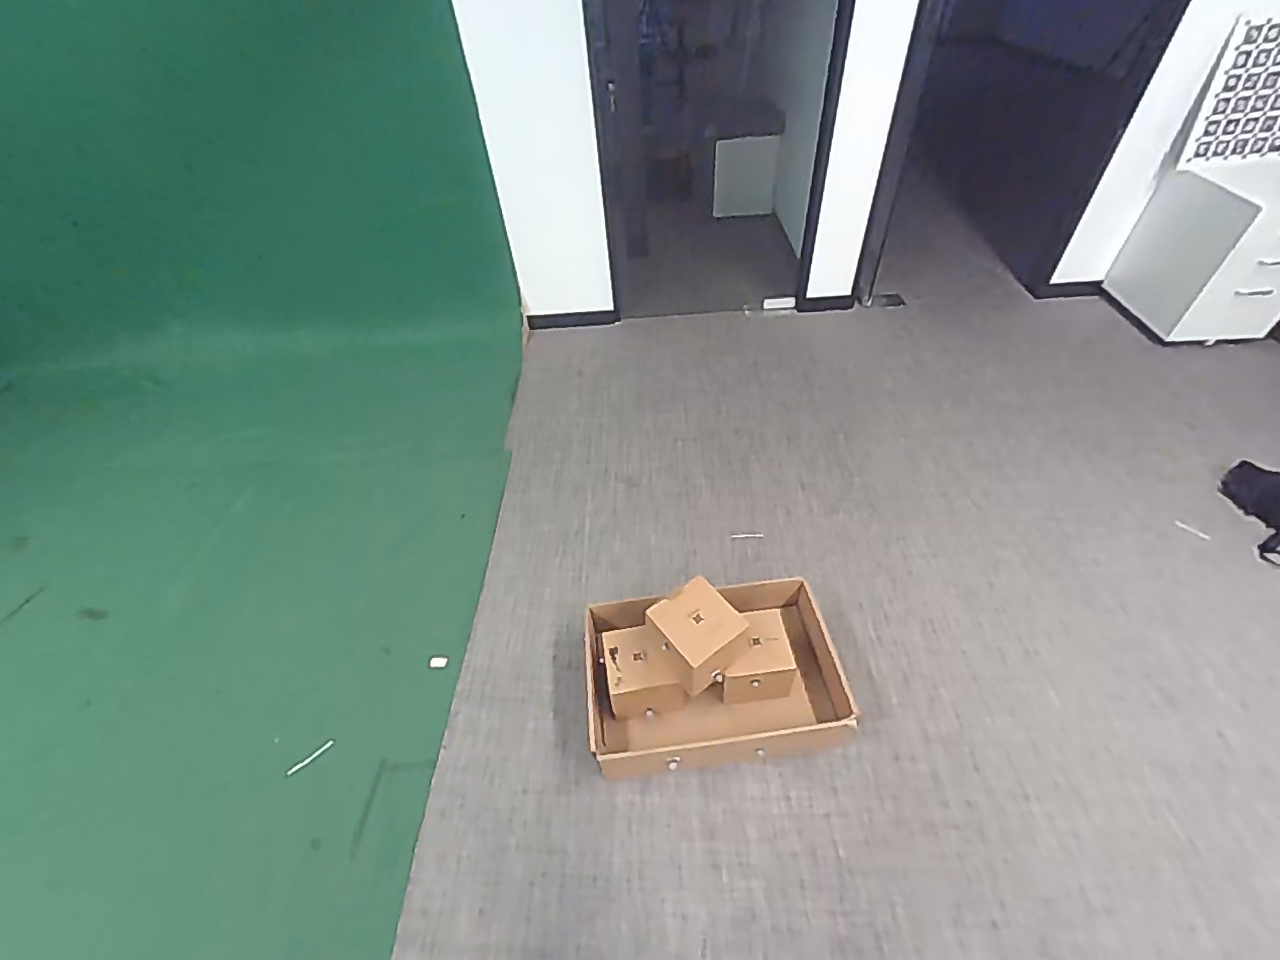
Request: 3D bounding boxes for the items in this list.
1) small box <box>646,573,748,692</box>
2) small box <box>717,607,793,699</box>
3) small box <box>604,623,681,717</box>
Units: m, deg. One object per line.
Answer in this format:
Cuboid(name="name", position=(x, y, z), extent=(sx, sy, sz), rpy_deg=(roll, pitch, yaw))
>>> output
Cuboid(name="small box", position=(0.130, 0.363, 1.280), extent=(0.168, 0.176, 0.179), rpy_deg=(-30, 53, -22))
Cuboid(name="small box", position=(0.282, 0.453, 1.403), extent=(0.179, 0.176, 0.168), rpy_deg=(-7, 46, -1))
Cuboid(name="small box", position=(0.004, 0.488, 1.393), extent=(0.179, 0.176, 0.168), rpy_deg=(-8, 45, -5))
